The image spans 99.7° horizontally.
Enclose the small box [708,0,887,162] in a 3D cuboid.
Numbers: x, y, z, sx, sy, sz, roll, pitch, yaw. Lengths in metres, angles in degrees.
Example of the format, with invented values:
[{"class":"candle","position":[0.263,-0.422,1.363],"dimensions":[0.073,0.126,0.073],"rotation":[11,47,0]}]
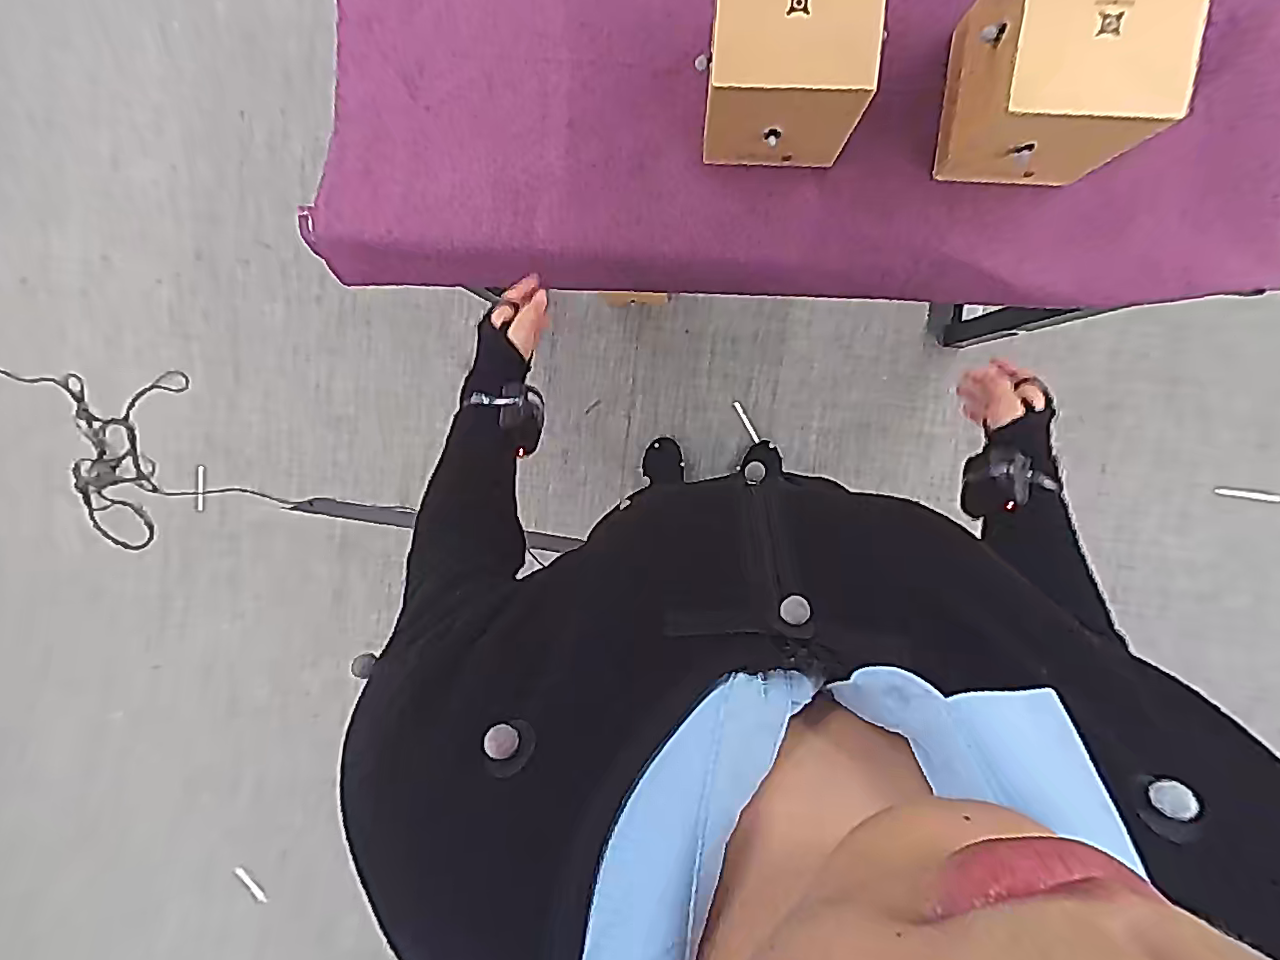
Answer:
[{"class":"small box","position":[0.168,-0.488,0.613],"dimensions":[0.168,0.176,0.179],"rotation":[4,96,3]}]

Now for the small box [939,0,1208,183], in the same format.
[{"class":"small box","position":[0.456,-0.451,0.594],"dimensions":[0.168,0.176,0.179],"rotation":[5,97,4]}]
